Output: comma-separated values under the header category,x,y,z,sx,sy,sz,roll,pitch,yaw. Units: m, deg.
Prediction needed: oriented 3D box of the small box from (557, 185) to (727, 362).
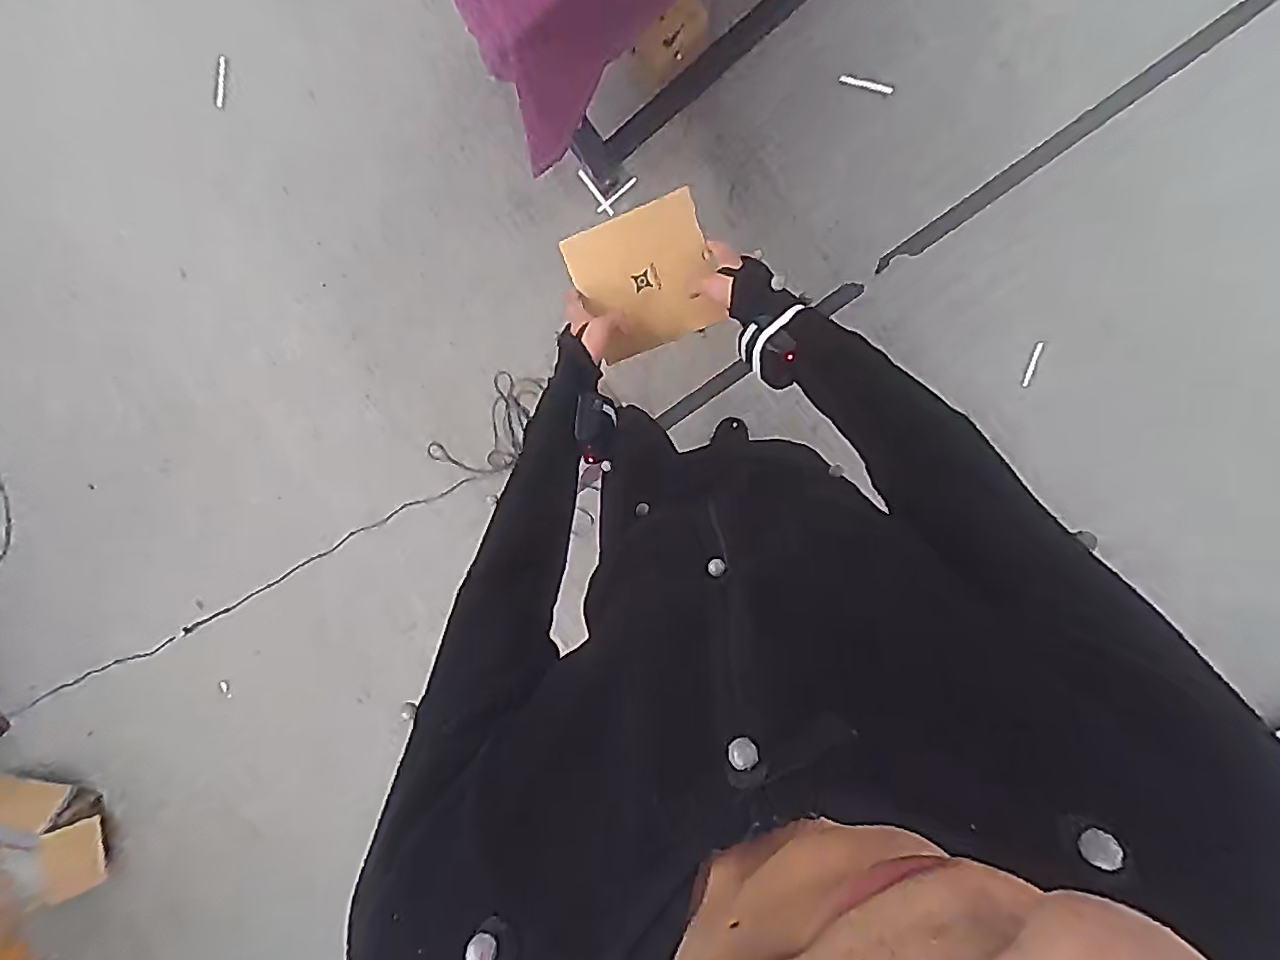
category,x,y,z,sx,sy,sz,roll,pitch,yaw
small box,0.007,-0.276,0.754,0.179,0.176,0.168,-20,106,7
